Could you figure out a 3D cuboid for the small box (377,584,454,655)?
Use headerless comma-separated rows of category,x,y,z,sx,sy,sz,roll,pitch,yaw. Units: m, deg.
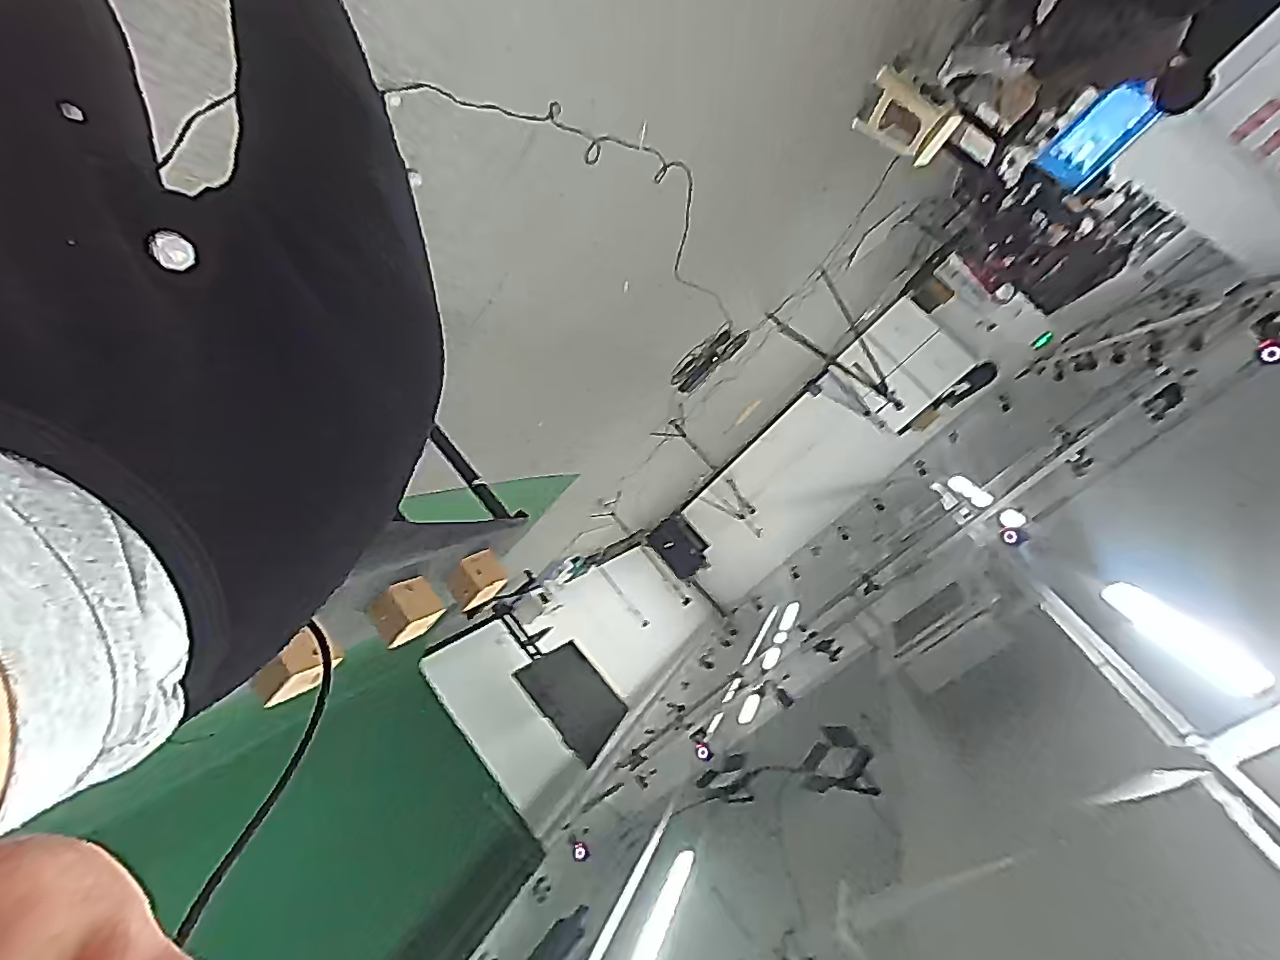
small box,-0.854,0.520,2.045,0.168,0.176,0.179,-46,166,19

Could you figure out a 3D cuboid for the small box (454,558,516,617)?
small box,-0.684,0.460,2.368,0.179,0.176,0.168,-47,165,30

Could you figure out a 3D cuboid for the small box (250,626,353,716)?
small box,-1.036,0.576,1.658,0.168,0.176,0.179,-46,167,15
